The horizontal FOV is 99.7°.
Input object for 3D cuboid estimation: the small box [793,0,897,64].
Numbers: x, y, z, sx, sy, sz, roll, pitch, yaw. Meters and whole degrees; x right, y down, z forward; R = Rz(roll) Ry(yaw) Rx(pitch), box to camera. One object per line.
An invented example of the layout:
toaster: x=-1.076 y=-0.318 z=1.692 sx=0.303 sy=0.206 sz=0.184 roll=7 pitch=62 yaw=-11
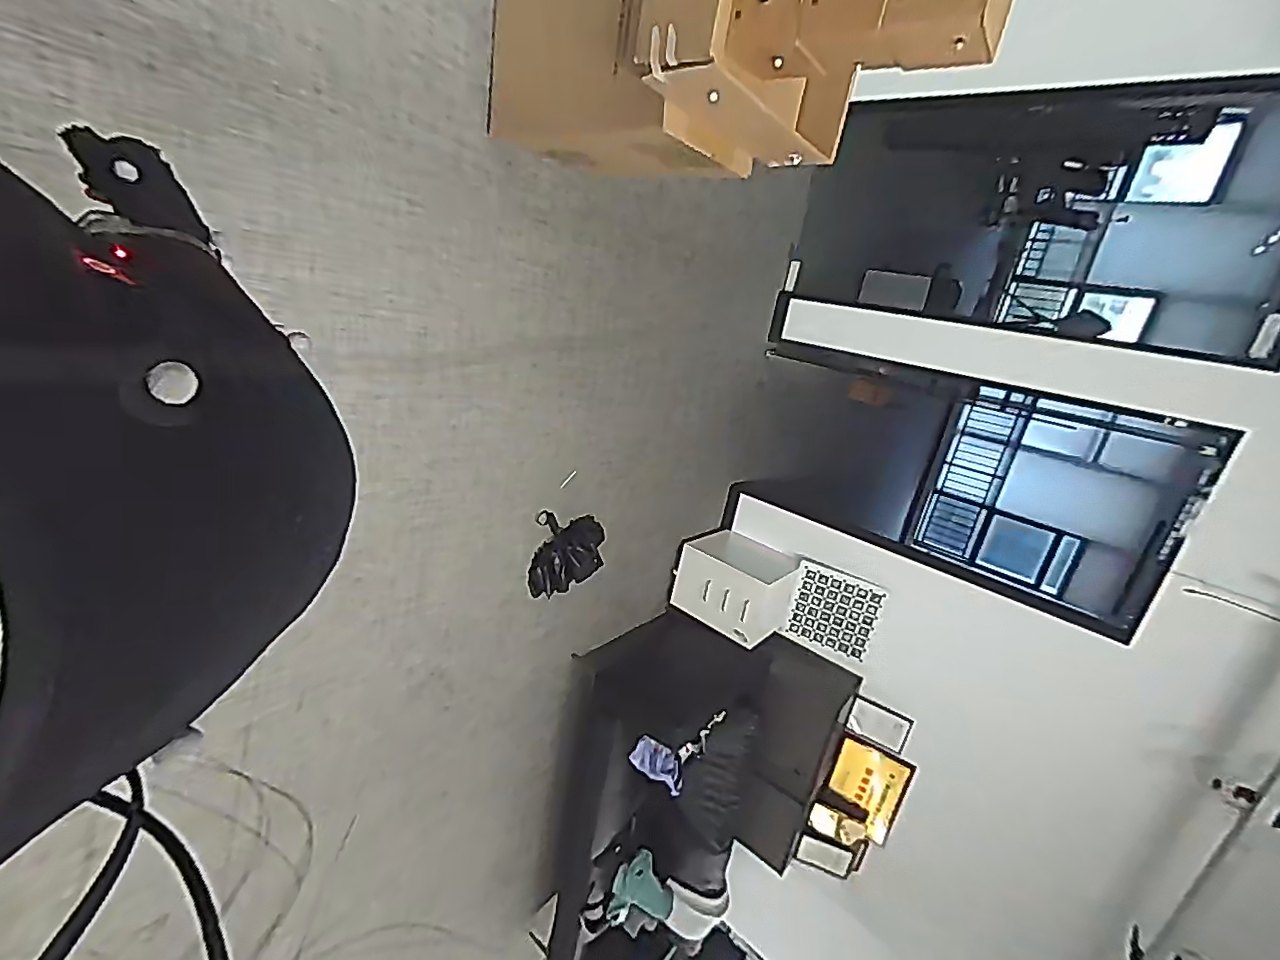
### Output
small box: x=0.425 y=-0.944 z=1.059 sx=0.179 sy=0.176 sz=0.168 roll=-17 pitch=123 yaw=-48

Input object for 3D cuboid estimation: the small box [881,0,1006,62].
small box: x=0.557 y=-0.889 z=0.977 sx=0.179 sy=0.176 sz=0.168 roll=-14 pitch=121 yaw=-52
